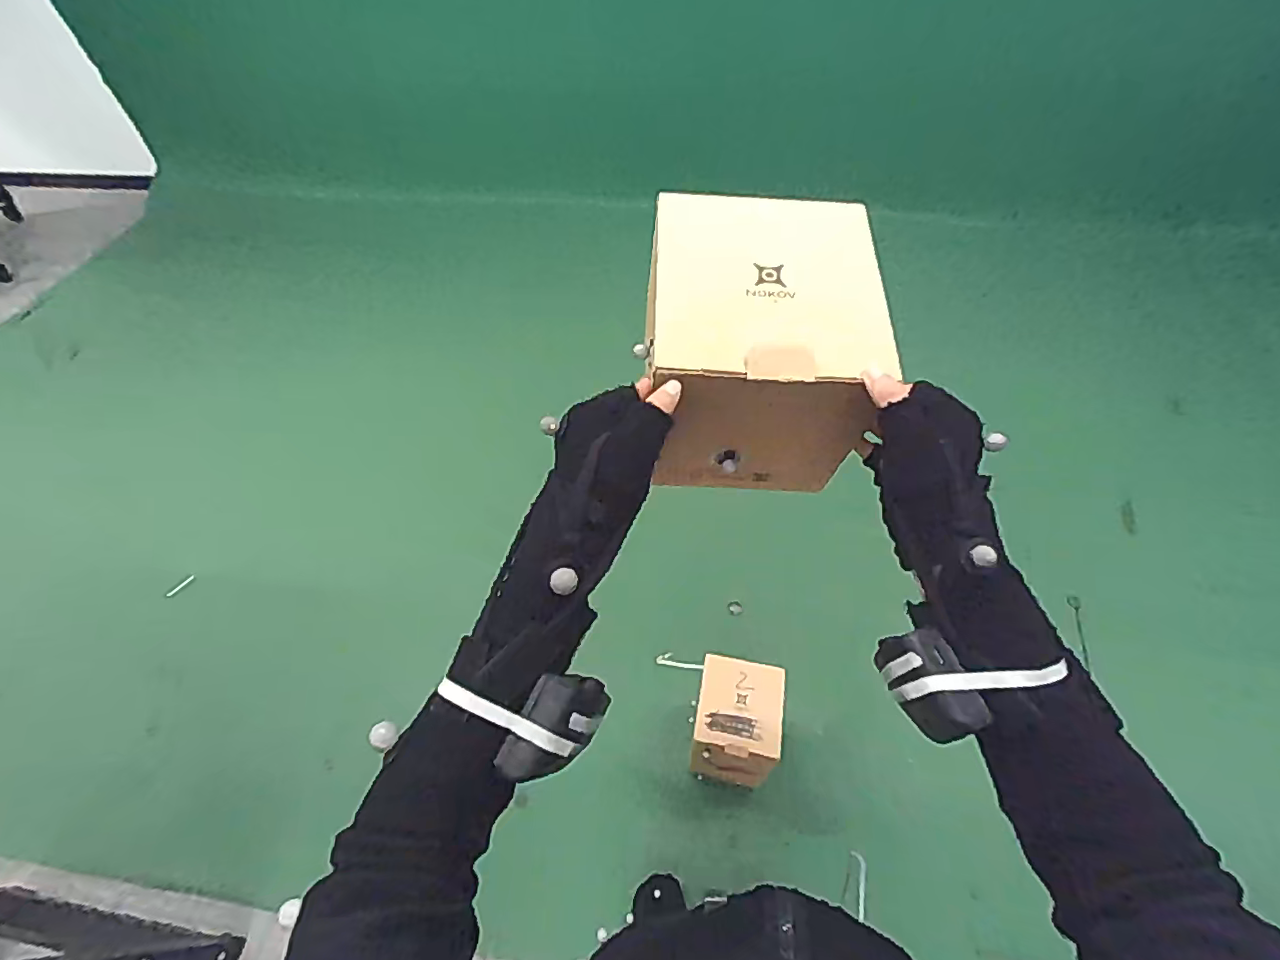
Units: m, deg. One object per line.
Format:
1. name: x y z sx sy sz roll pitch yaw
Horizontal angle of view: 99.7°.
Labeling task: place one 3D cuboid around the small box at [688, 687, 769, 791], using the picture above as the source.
1. small box: 0.202 0.606 1.256 0.168 0.176 0.179 7 54 7
